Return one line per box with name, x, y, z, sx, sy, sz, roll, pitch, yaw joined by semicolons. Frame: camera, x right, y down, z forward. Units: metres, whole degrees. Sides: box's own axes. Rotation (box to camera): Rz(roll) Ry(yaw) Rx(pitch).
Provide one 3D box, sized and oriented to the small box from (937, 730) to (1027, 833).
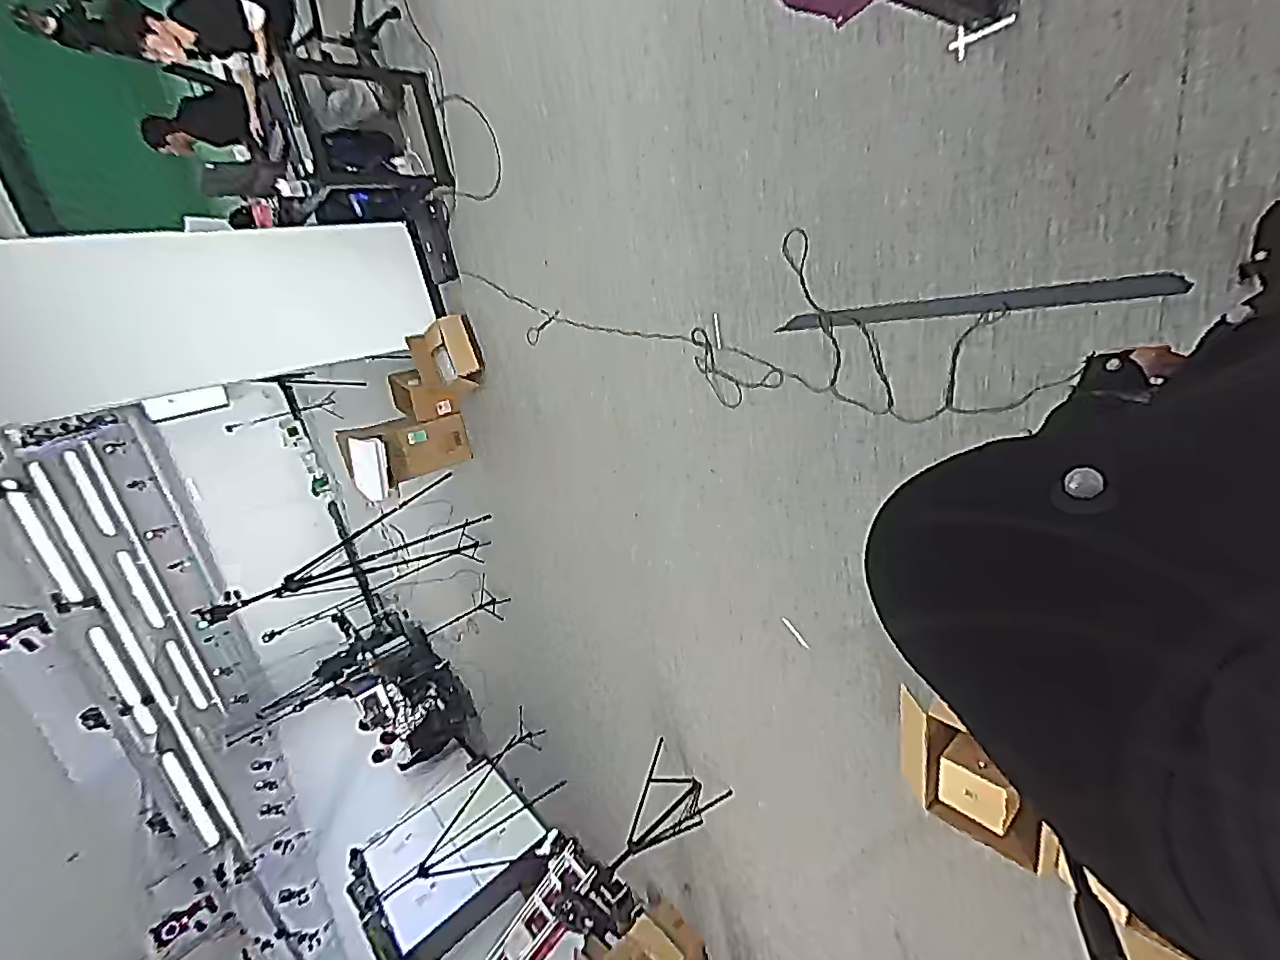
small box;1.009;0.877;1.598;0.179;0.176;0.168;14;118;48
